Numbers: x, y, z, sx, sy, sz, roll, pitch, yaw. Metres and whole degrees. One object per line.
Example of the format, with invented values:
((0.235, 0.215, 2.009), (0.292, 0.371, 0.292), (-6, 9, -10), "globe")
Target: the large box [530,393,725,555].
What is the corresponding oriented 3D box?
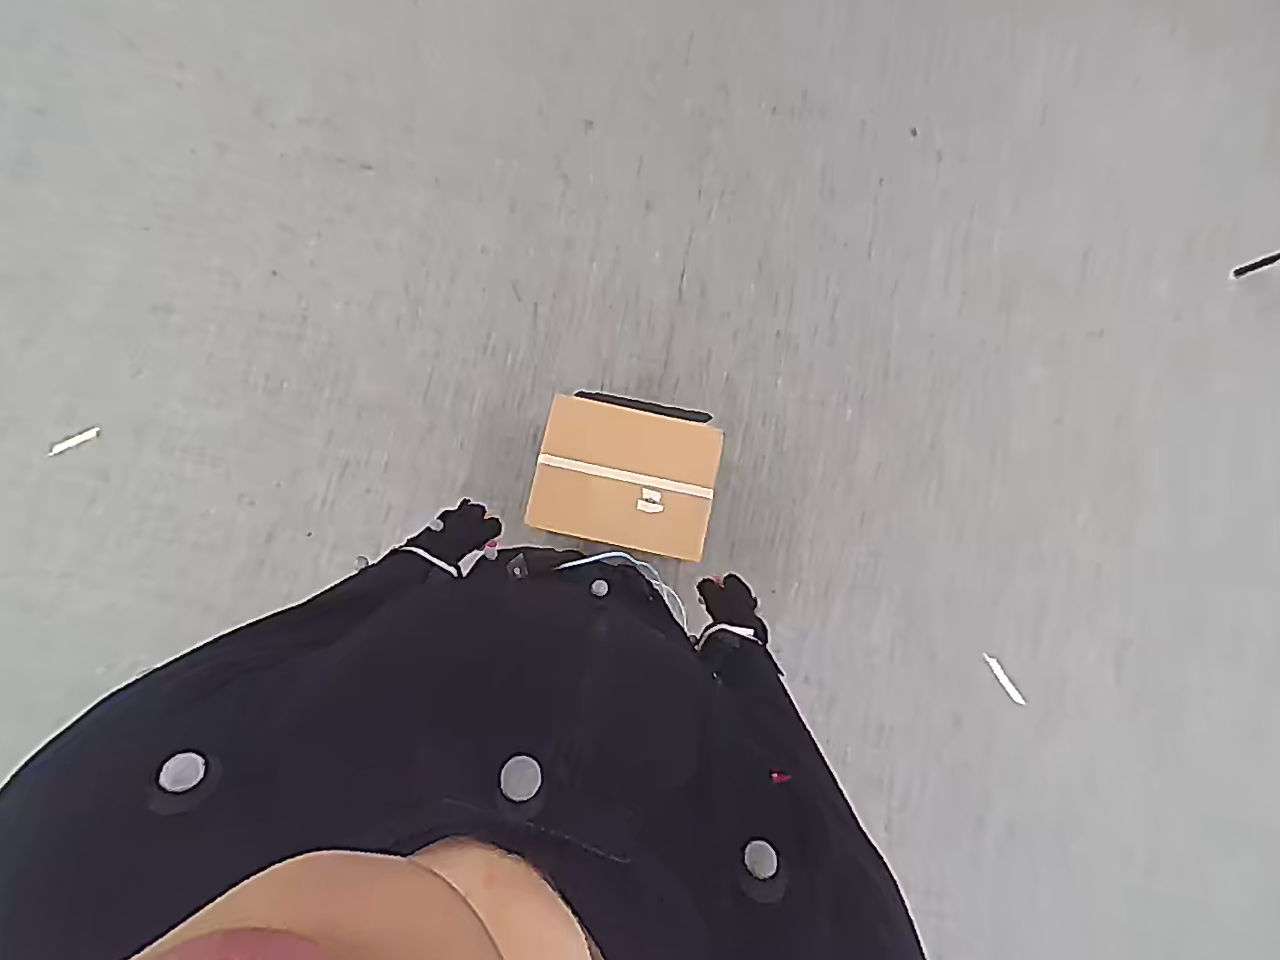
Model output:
((-0.034, 0.004, 1.381), (0.408, 0.320, 0.320), (12, 83, -1), "large box")
